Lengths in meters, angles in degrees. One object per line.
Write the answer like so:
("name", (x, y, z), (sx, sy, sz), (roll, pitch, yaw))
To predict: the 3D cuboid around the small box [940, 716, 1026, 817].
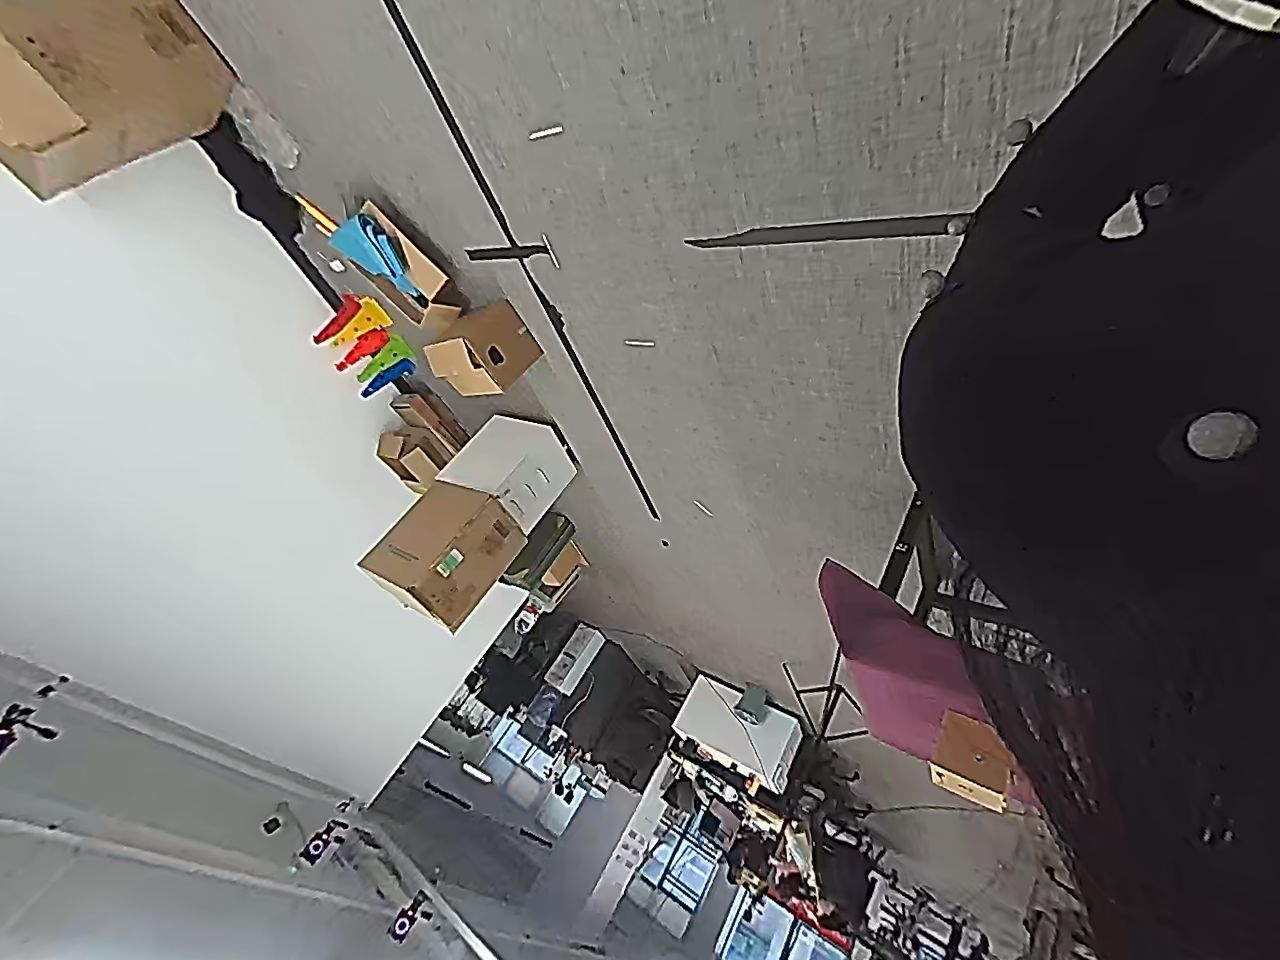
("small box", (0.950, 0.785, 1.497), (0.179, 0.176, 0.168), (10, 143, 39))
